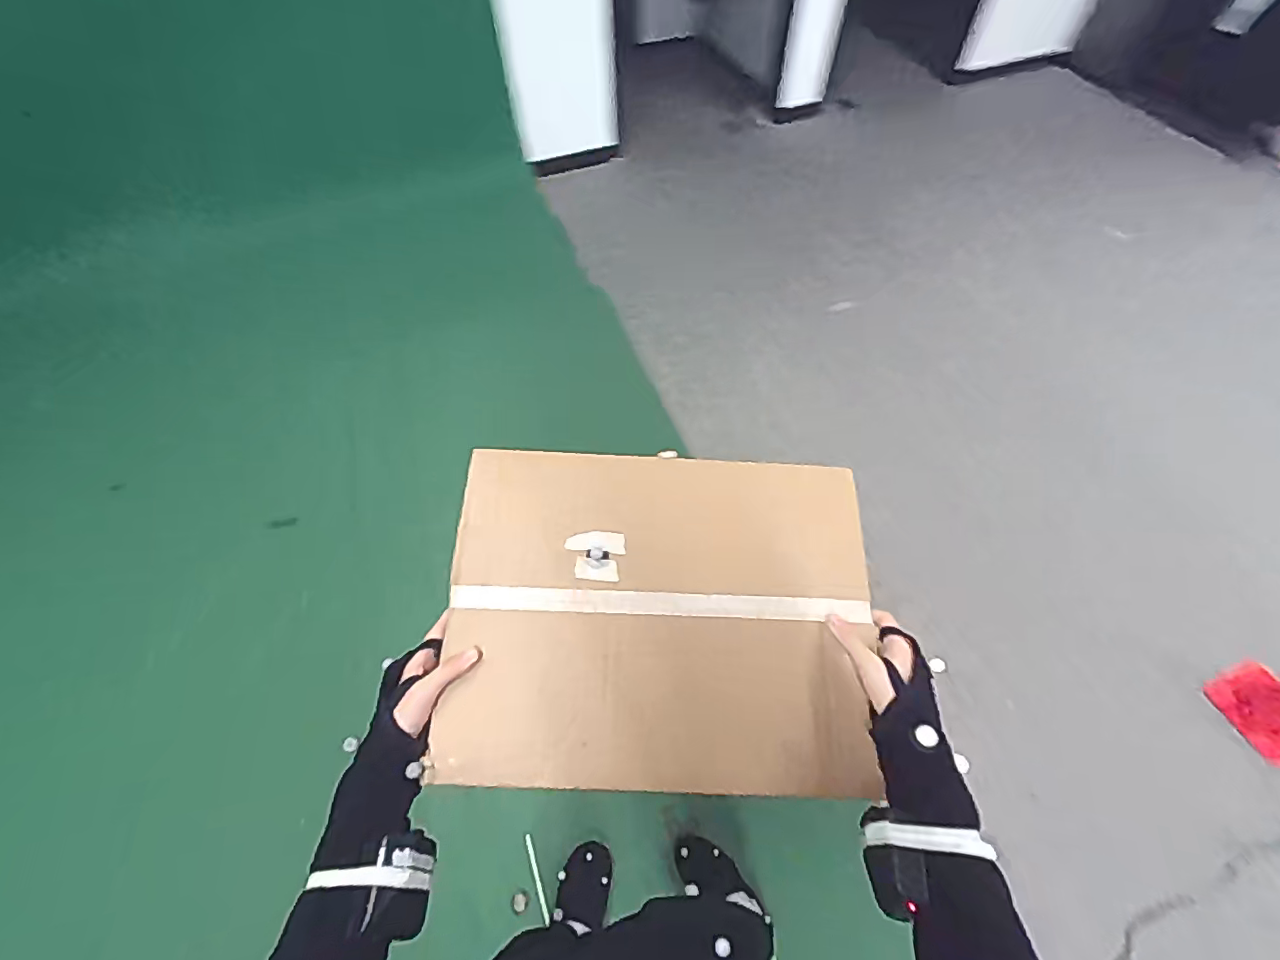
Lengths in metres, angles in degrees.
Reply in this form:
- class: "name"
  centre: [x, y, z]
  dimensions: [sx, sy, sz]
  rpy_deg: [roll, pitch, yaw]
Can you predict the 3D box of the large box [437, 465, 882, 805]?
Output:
- class: "large box"
  centre: [0.023, 0.188, 0.670]
  dimensions: [0.408, 0.320, 0.320]
  rpy_deg: [3, 68, 0]
